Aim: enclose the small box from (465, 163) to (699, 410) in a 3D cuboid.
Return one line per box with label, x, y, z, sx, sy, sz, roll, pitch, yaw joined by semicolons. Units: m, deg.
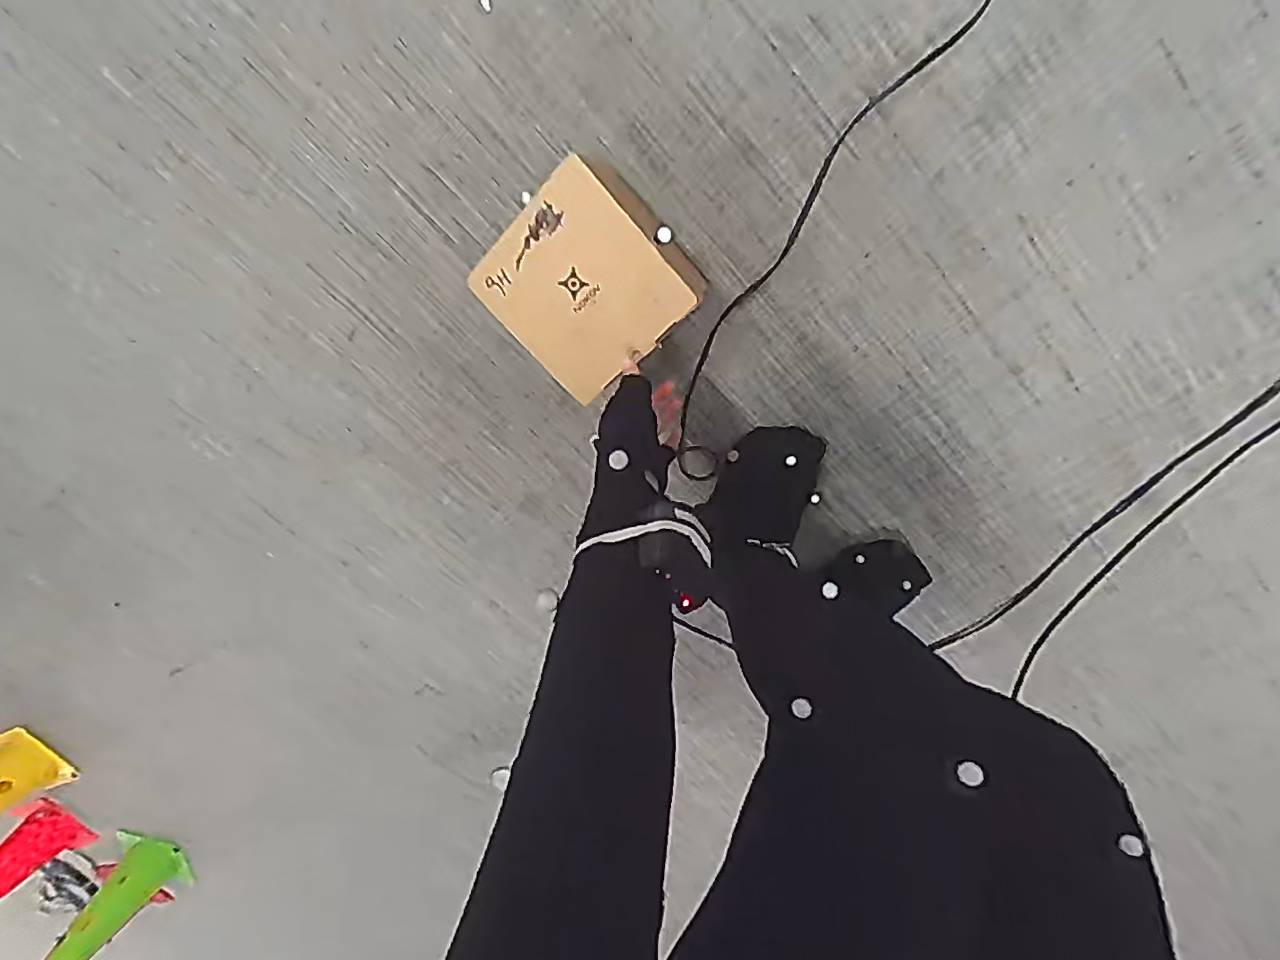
small box;-0.048;-0.214;0.596;0.168;0.176;0.179;-38;105;23
